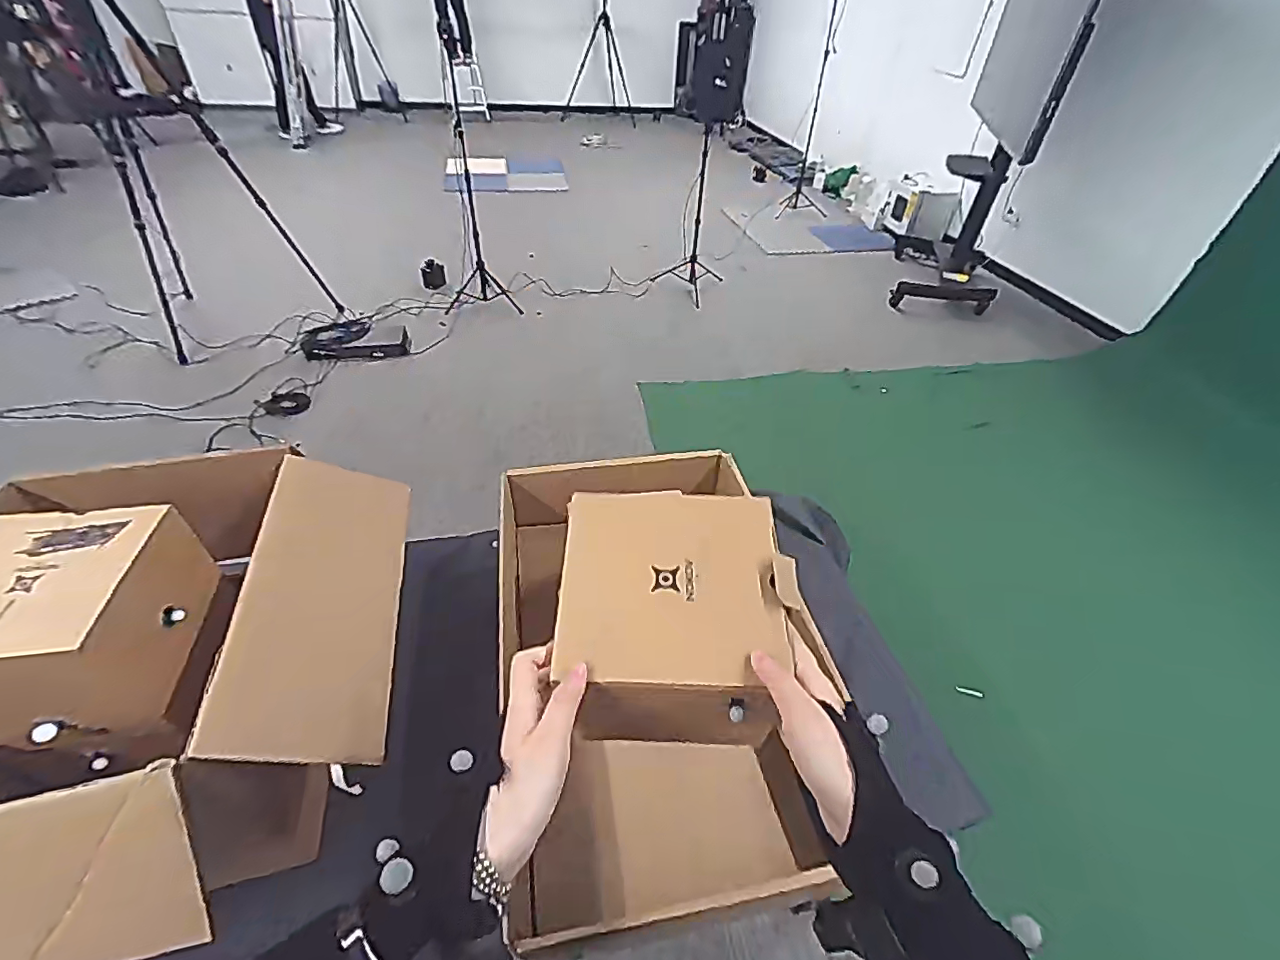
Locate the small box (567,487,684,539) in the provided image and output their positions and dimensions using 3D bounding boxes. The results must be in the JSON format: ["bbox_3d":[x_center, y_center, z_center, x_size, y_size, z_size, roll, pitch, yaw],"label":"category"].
[{"bbox_3d":[-0.011,0.134,0.820,0.179,0.176,0.168,-6,47,-9],"label":"small box"}]

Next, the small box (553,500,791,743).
[{"bbox_3d":[0.026,0.135,0.500,0.179,0.176,0.168,1,52,1],"label":"small box"}]

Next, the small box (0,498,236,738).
[{"bbox_3d":[-0.566,0.141,0.564,0.168,0.176,0.179,-4,46,-9],"label":"small box"}]
